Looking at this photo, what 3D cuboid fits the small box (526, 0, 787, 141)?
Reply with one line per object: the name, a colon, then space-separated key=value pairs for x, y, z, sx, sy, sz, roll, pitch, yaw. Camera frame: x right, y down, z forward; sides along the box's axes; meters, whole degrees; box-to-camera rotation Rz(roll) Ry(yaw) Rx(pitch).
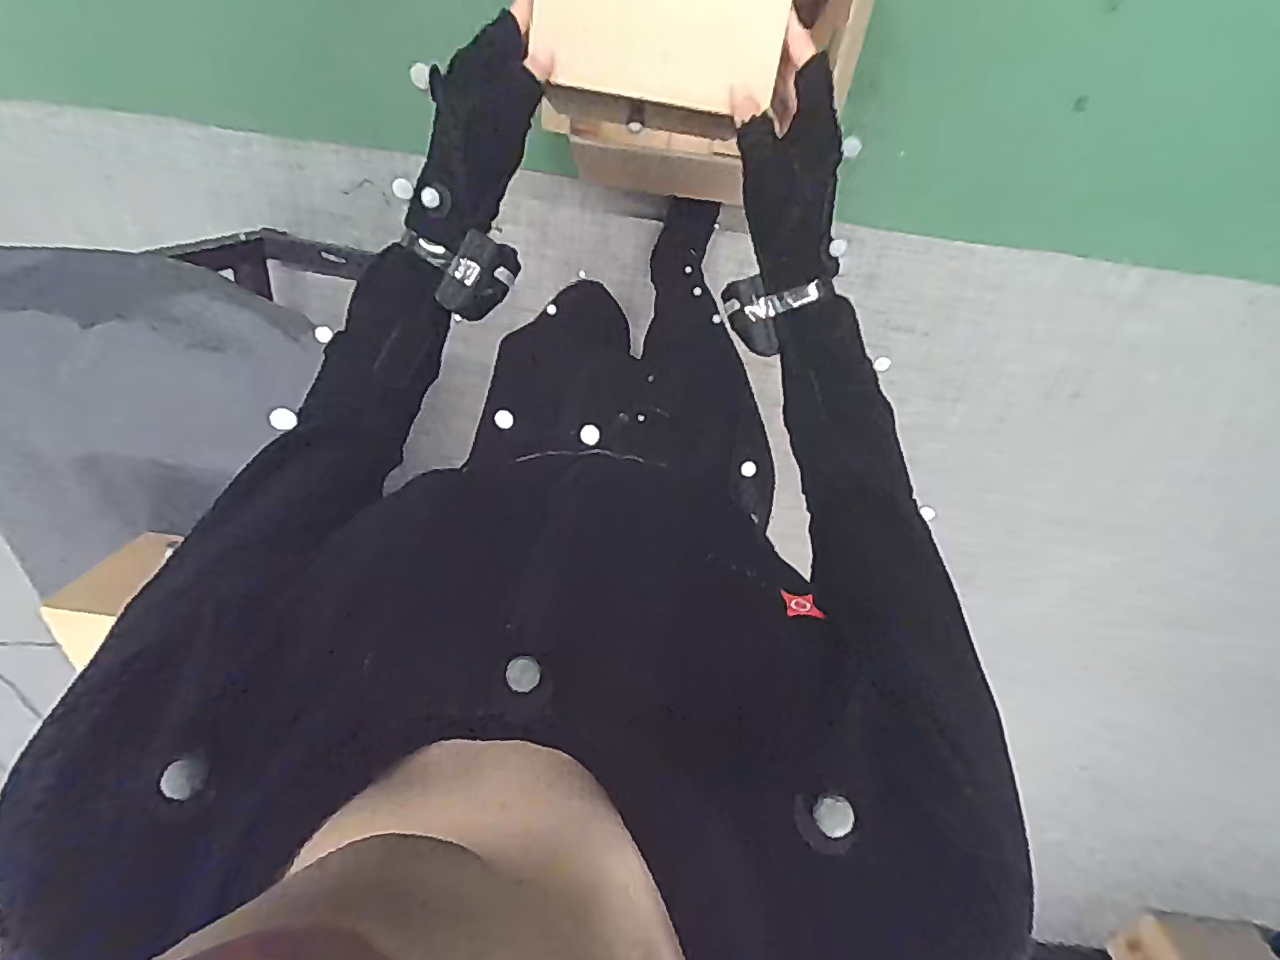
small box: x=0.015 y=-0.379 z=0.426 sx=0.179 sy=0.176 sz=0.168 roll=7 pitch=117 yaw=-4
